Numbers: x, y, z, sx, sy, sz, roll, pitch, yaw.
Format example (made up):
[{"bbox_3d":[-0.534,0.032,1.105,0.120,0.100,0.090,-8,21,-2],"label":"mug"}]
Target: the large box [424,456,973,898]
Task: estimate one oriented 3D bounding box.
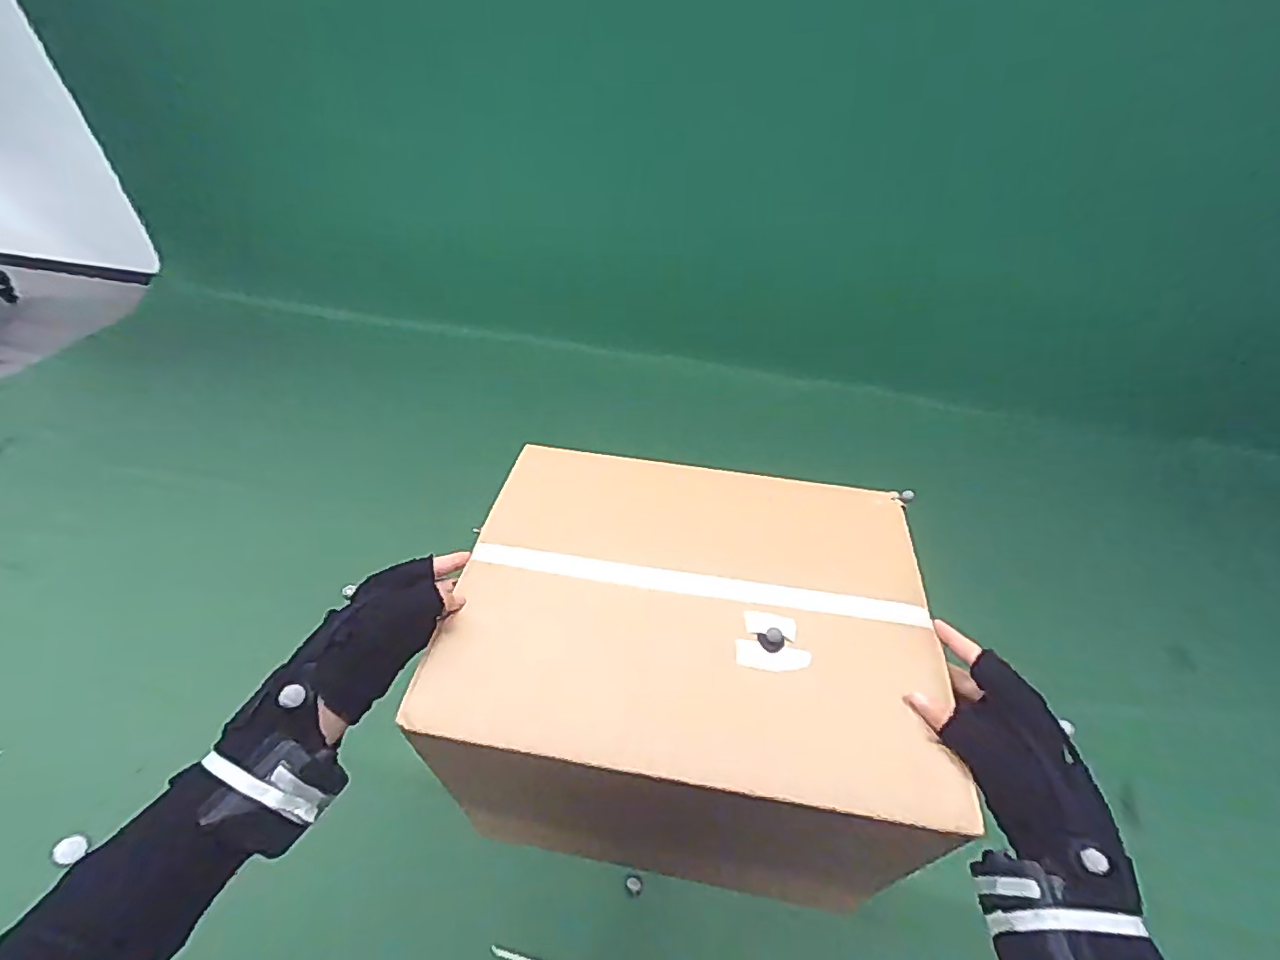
[{"bbox_3d":[0.048,0.208,0.591,0.408,0.320,0.320,8,45,5],"label":"large box"}]
